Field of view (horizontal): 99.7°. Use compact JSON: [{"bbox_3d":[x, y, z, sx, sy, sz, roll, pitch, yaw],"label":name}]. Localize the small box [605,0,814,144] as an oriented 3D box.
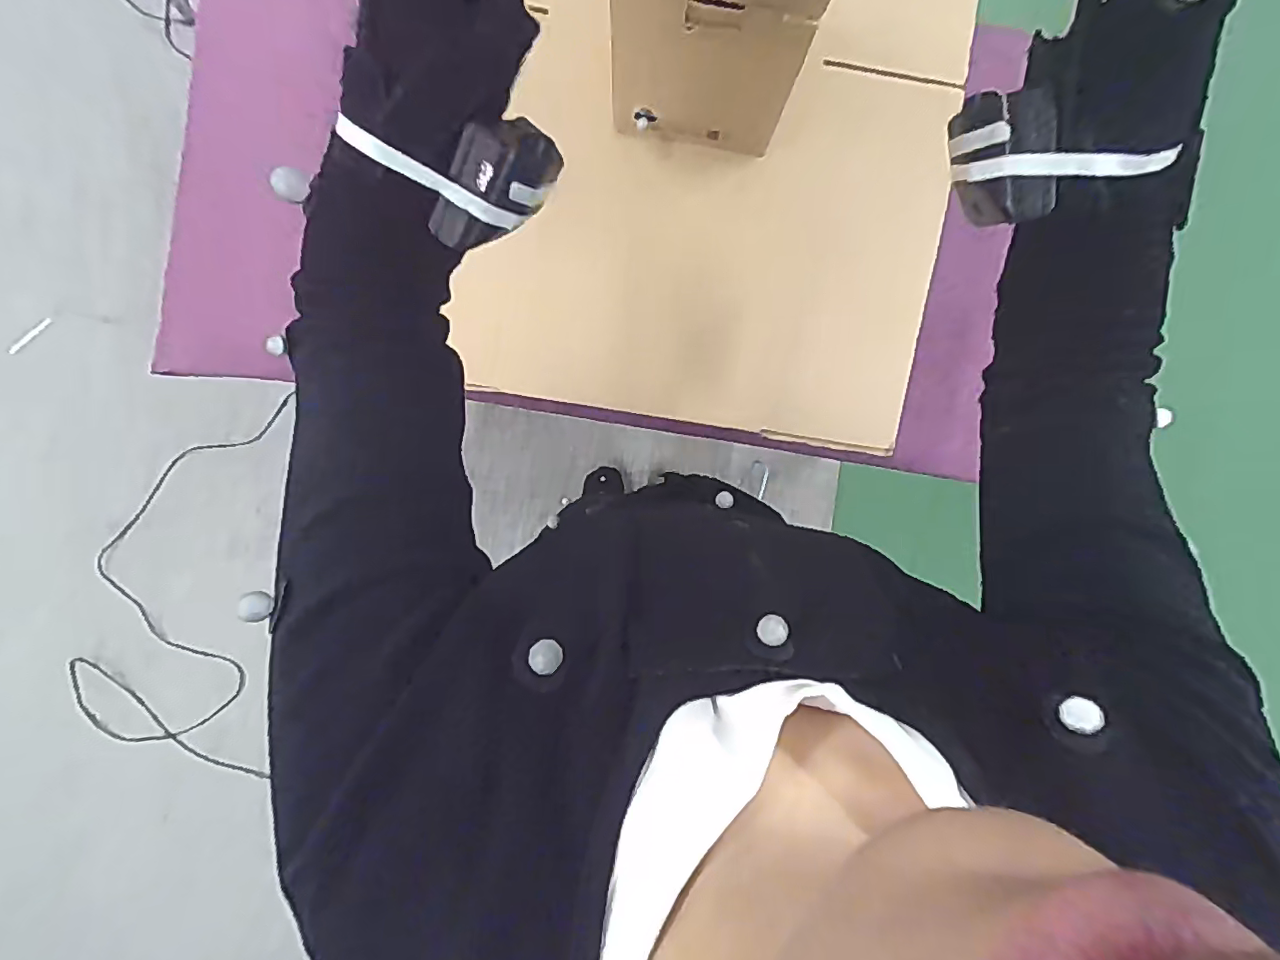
[{"bbox_3d":[0.064,-0.450,0.496,0.168,0.176,0.179,9,88,-2],"label":"small box"}]
